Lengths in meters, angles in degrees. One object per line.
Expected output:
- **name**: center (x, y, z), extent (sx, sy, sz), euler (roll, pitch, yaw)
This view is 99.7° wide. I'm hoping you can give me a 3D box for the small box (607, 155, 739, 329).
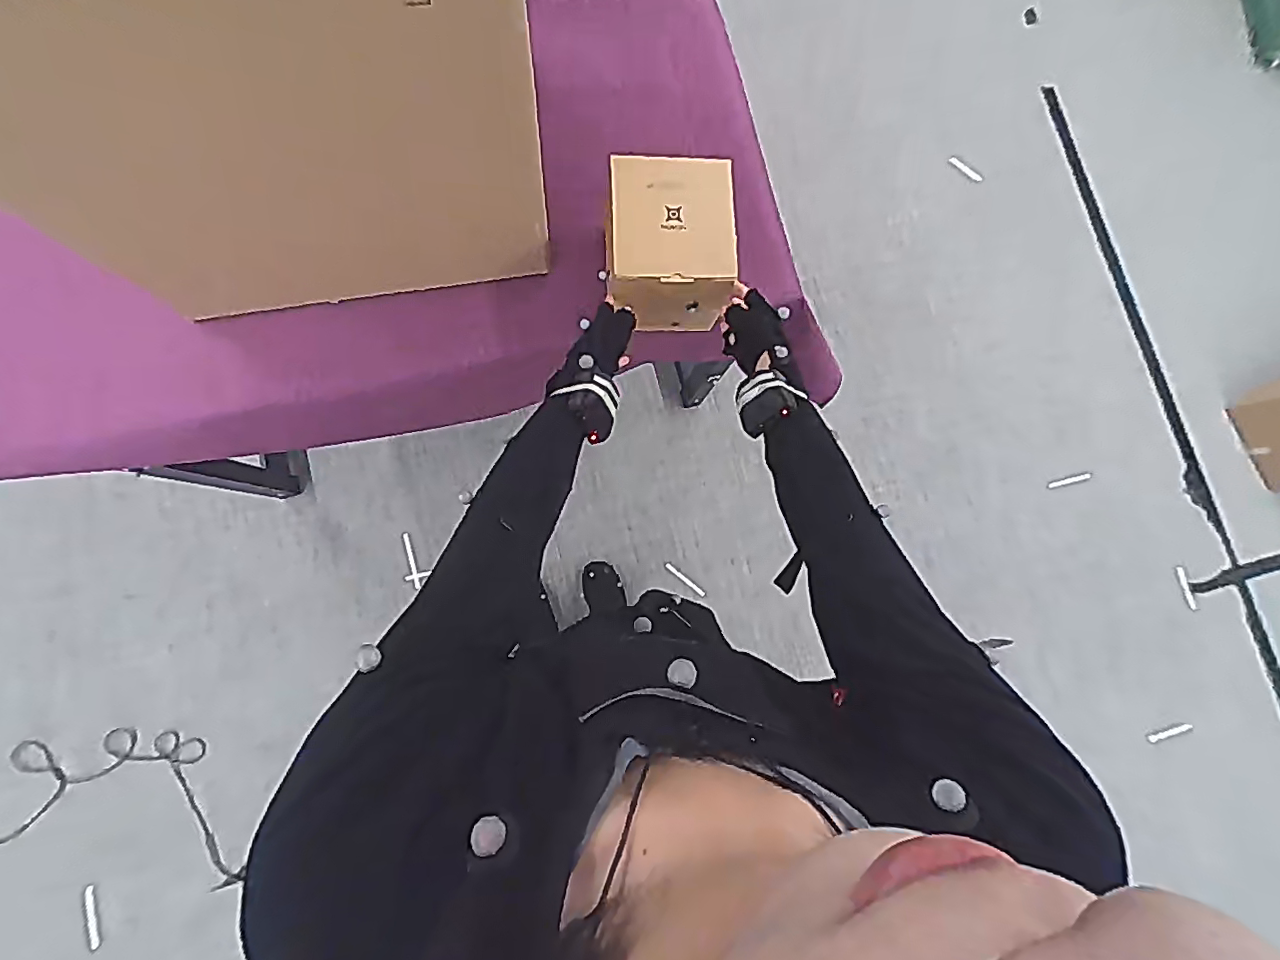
- **small box**: center (0.039, -0.333, 0.788), extent (0.168, 0.176, 0.179), euler (-2, 81, -7)
